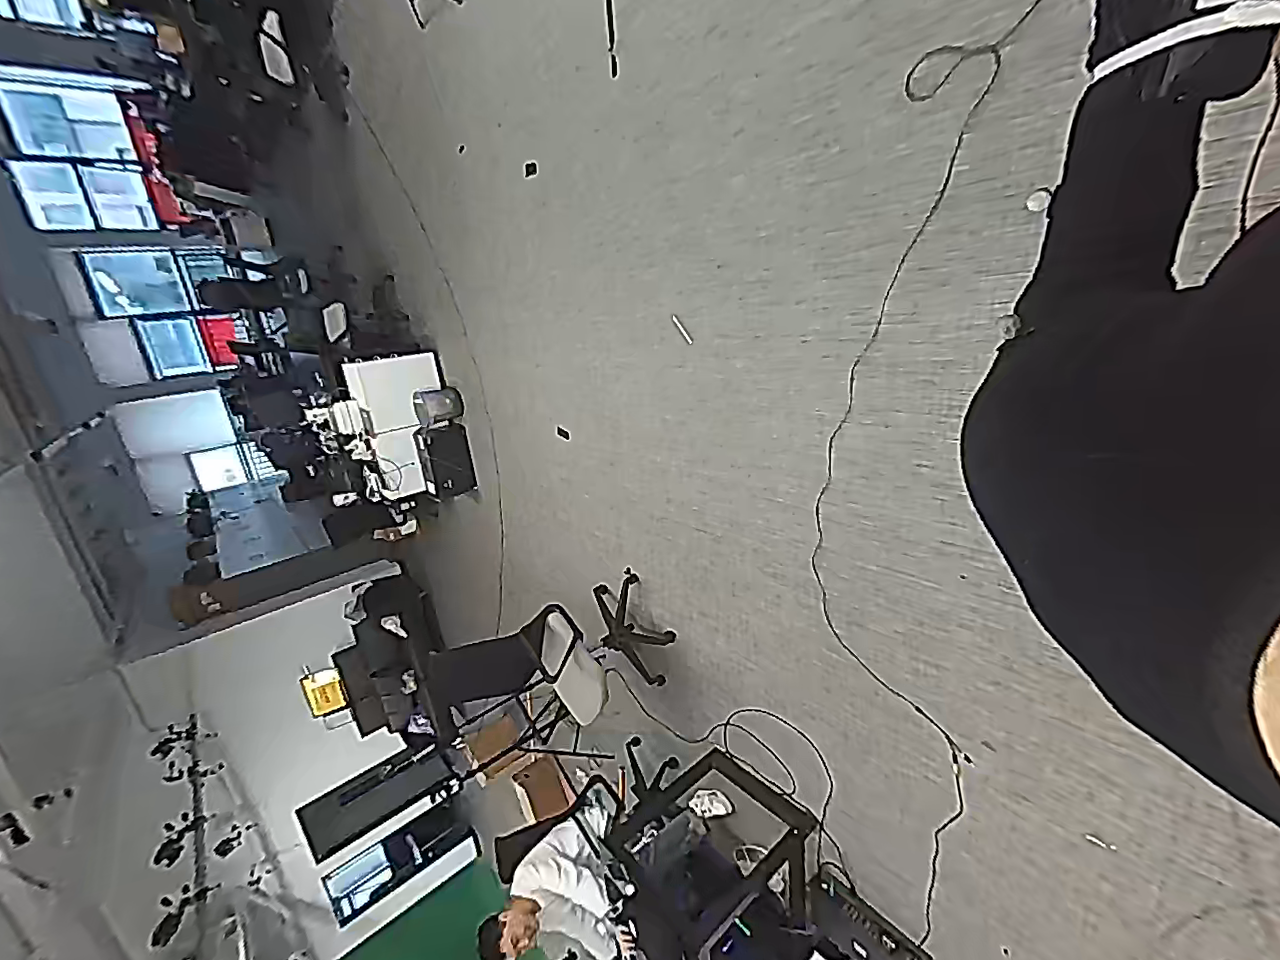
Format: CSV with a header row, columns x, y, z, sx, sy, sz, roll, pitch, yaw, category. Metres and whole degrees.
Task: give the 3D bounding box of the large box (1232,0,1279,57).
x,y,z,sx,sy,sz,roll,pitch,yaw,category
0.586,-0.462,0.235,0.408,0.320,0.320,16,121,46,large box
